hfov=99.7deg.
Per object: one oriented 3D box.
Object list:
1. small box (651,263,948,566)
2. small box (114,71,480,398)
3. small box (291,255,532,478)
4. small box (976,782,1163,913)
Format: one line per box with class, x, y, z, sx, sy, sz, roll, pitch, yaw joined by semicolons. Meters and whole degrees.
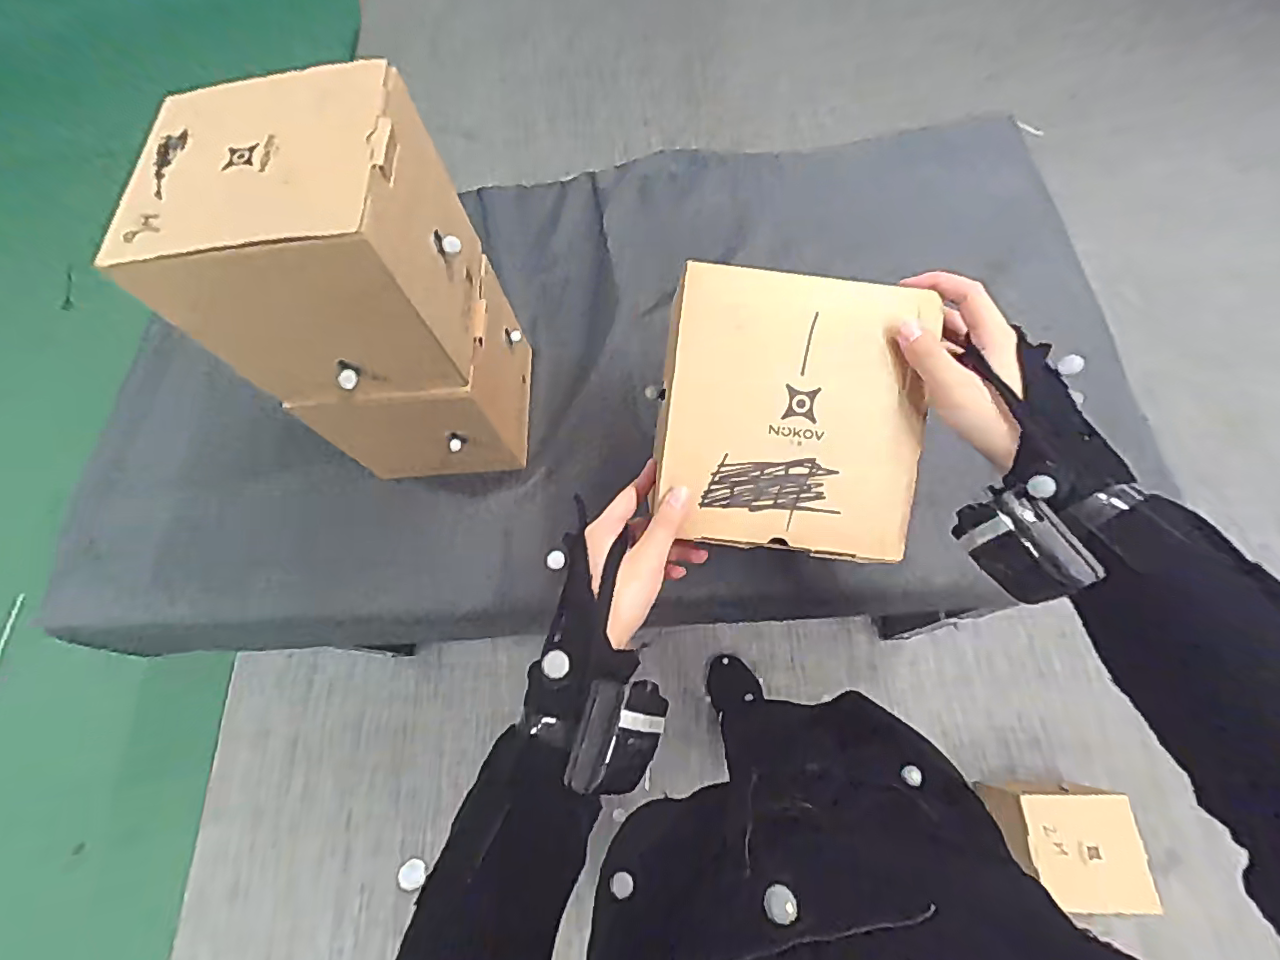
small box;0.100;-0.047;0.422;0.168;0.176;0.179;7;96;-2
small box;-0.242;-0.183;0.439;0.179;0.176;0.168;-5;66;4
small box;-0.224;-0.112;0.585;0.179;0.176;0.168;-4;66;5
small box;0.740;0.637;0.956;0.179;0.176;0.168;-3;66;5
